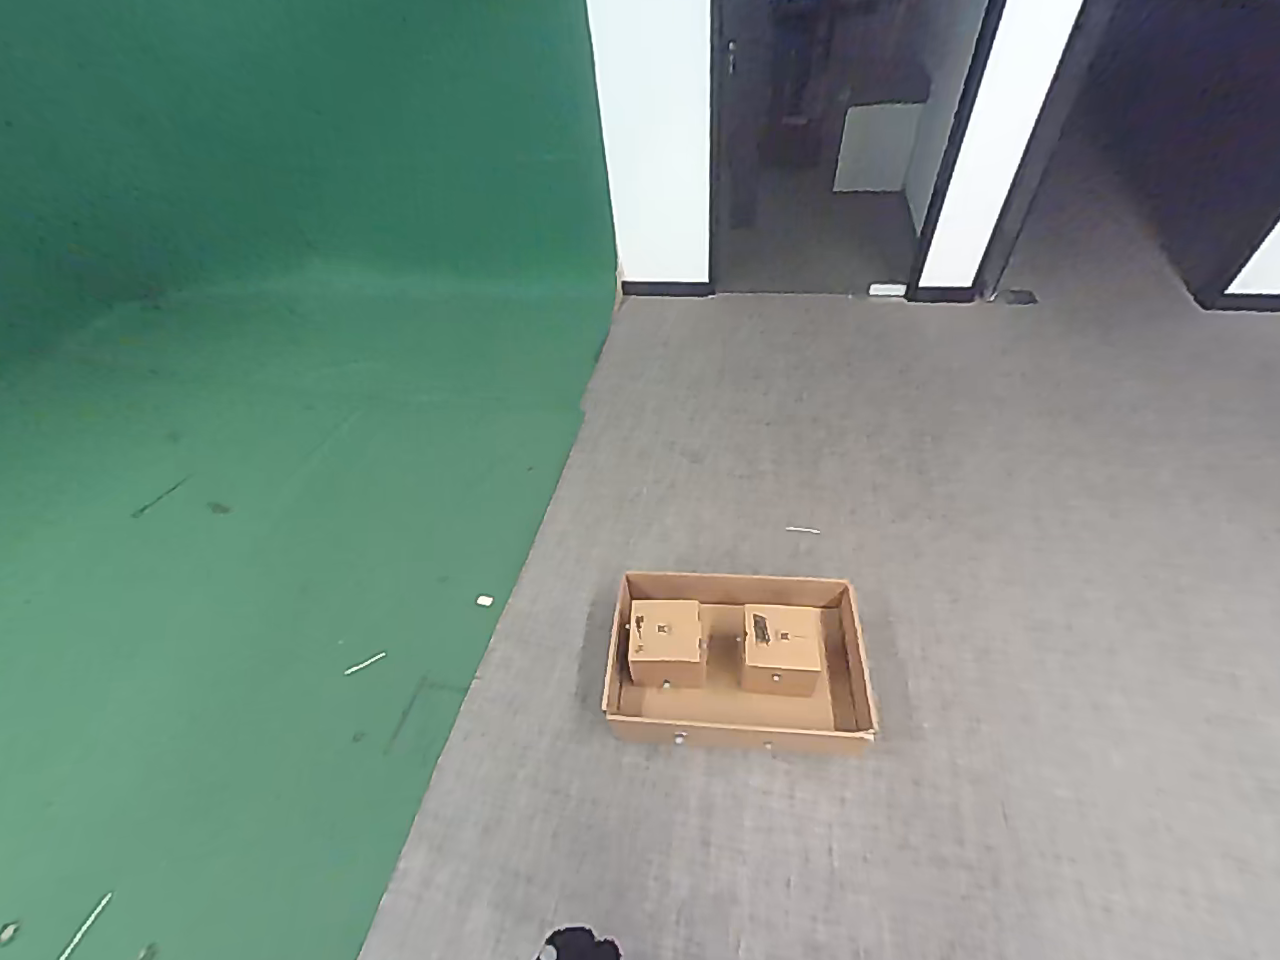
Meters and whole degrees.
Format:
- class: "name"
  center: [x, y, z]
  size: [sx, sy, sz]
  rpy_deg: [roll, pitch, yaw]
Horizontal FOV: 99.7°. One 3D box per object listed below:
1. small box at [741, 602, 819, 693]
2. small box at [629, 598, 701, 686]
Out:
- class: "small box"
  center: [0.348, 0.428, 1.375]
  size: [0.179, 0.176, 0.168]
  rpy_deg: [2, 49, 8]
- class: "small box"
  center: [0.068, 0.424, 1.411]
  size: [0.179, 0.176, 0.168]
  rpy_deg: [0, 48, 5]
